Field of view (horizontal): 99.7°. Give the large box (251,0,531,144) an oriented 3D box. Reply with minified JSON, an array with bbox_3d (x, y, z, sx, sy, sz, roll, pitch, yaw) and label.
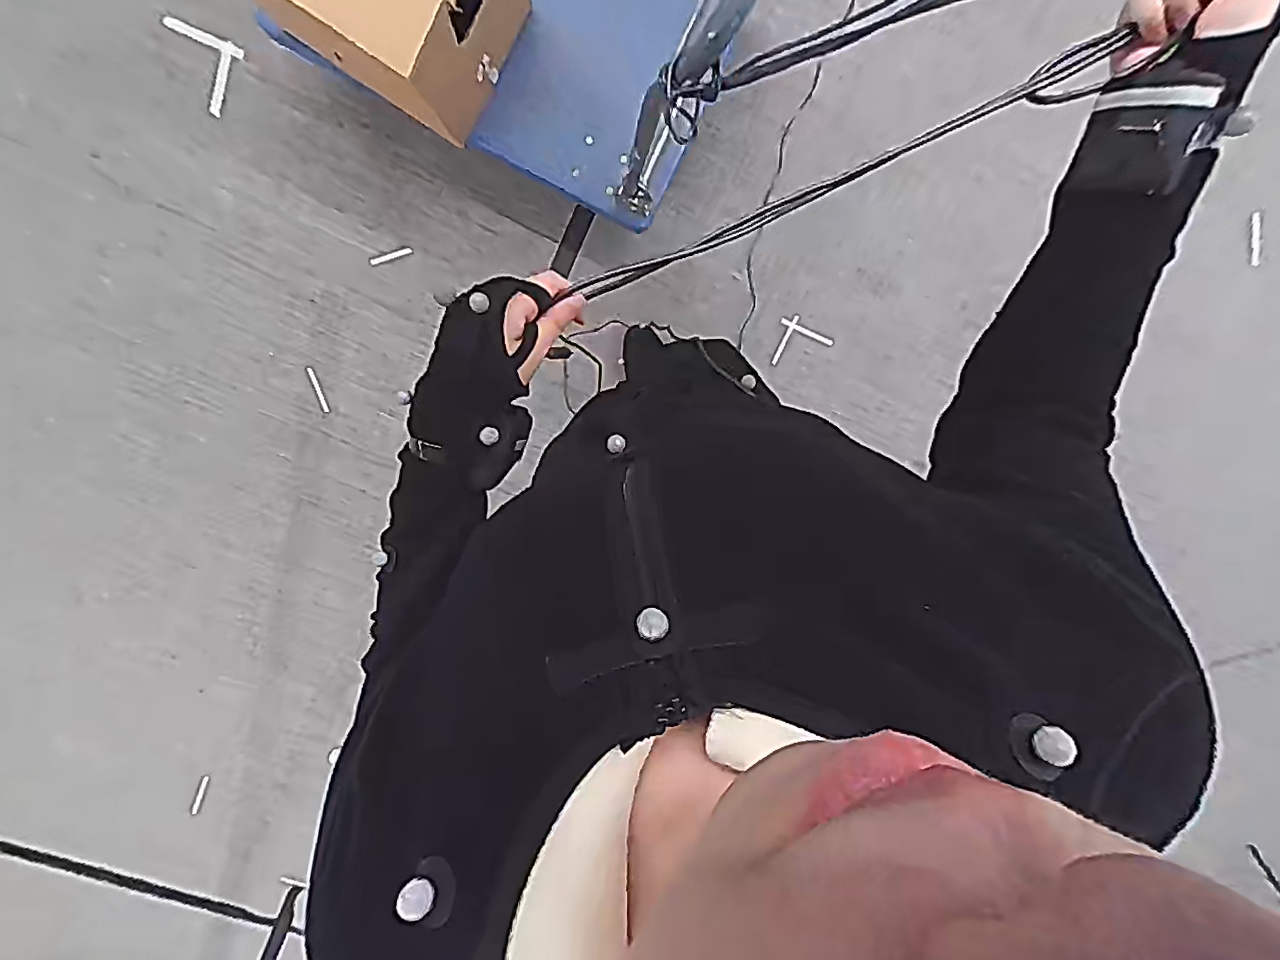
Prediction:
[{"bbox_3d":[-0.450,-0.875,0.920,0.408,0.320,0.320,31,100,-9],"label":"large box"}]
